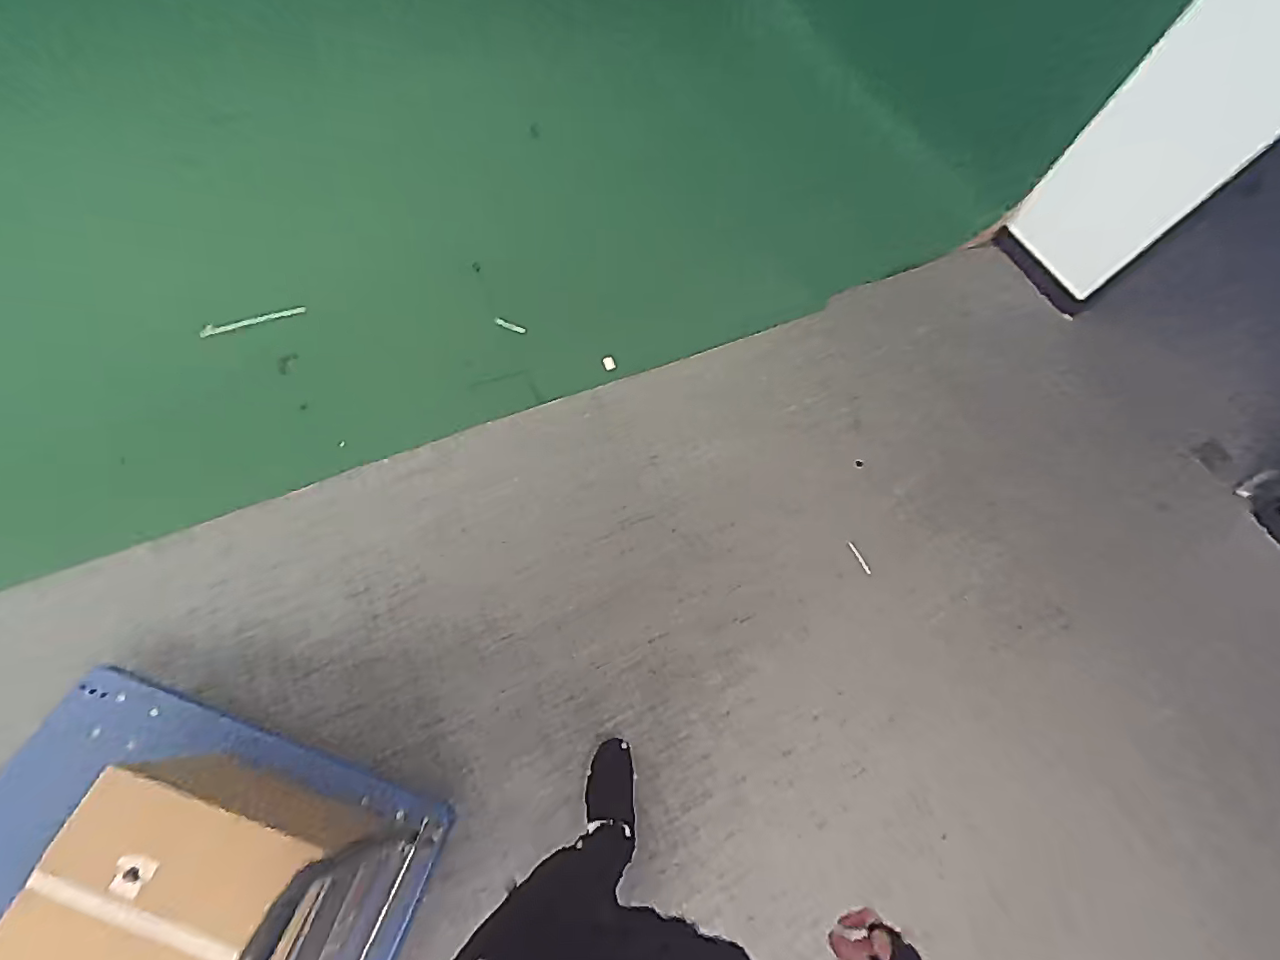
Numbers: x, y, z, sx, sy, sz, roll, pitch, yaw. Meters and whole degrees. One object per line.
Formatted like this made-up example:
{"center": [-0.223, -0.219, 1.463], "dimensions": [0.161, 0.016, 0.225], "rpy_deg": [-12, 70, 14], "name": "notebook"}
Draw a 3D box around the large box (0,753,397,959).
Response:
{"center": [-0.715, 0.706, 0.932], "dimensions": [0.408, 0.320, 0.320], "rpy_deg": [20, 64, 3], "name": "large box"}
